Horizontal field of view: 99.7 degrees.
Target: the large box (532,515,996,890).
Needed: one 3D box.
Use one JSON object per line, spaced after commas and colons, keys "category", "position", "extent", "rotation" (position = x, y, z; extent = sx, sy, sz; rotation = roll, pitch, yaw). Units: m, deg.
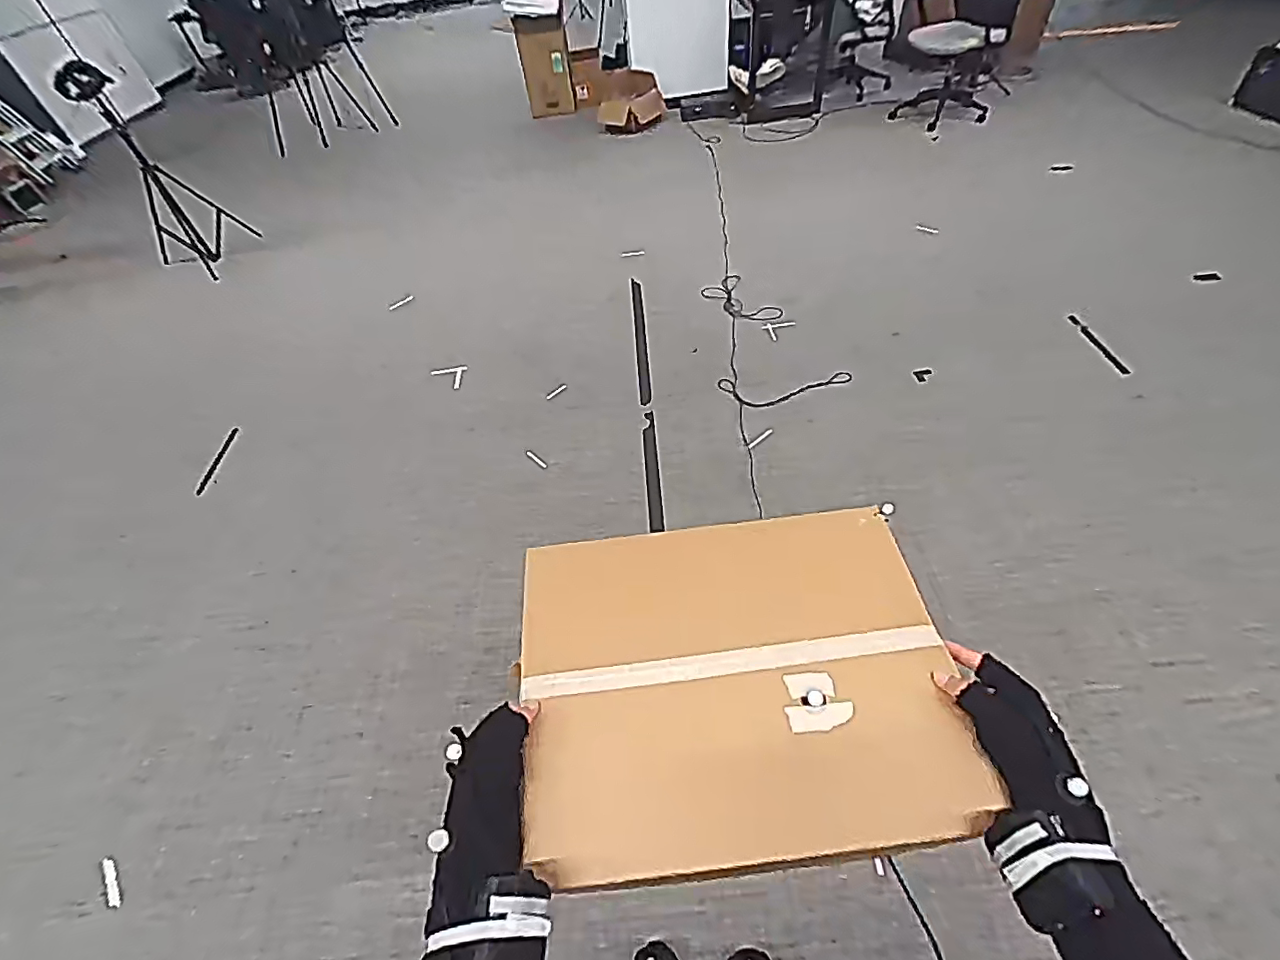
{"category": "large box", "position": [0.097, 0.277, 0.657], "extent": [0.408, 0.320, 0.320], "rotation": [-7, 53, -1]}
